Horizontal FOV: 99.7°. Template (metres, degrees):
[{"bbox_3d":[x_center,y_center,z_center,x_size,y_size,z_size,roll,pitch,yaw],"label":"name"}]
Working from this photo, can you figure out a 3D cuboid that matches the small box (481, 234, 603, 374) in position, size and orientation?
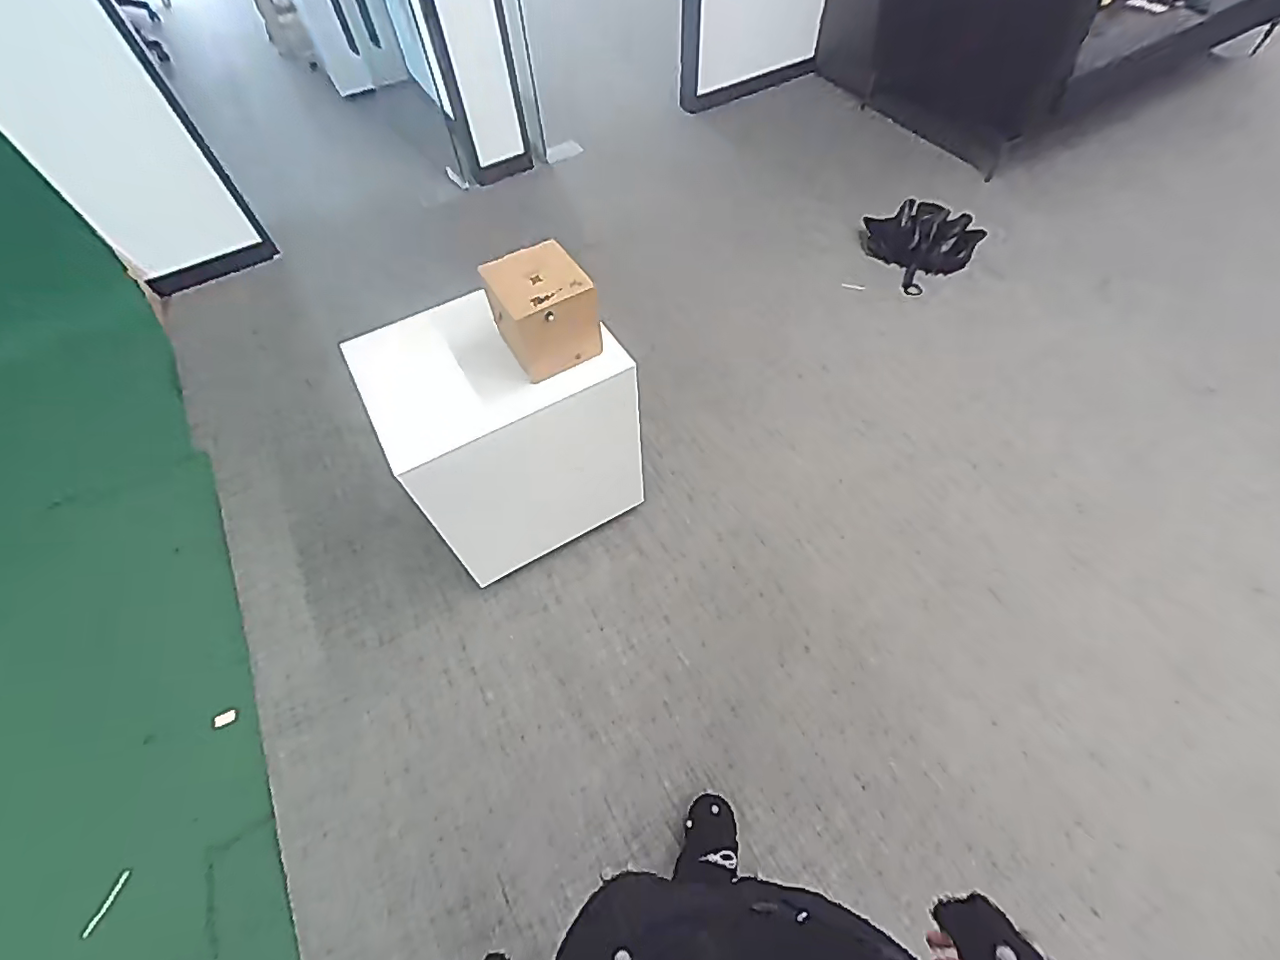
[{"bbox_3d":[-0.187,-0.343,1.068,0.168,0.176,0.179,-29,61,-13],"label":"small box"}]
